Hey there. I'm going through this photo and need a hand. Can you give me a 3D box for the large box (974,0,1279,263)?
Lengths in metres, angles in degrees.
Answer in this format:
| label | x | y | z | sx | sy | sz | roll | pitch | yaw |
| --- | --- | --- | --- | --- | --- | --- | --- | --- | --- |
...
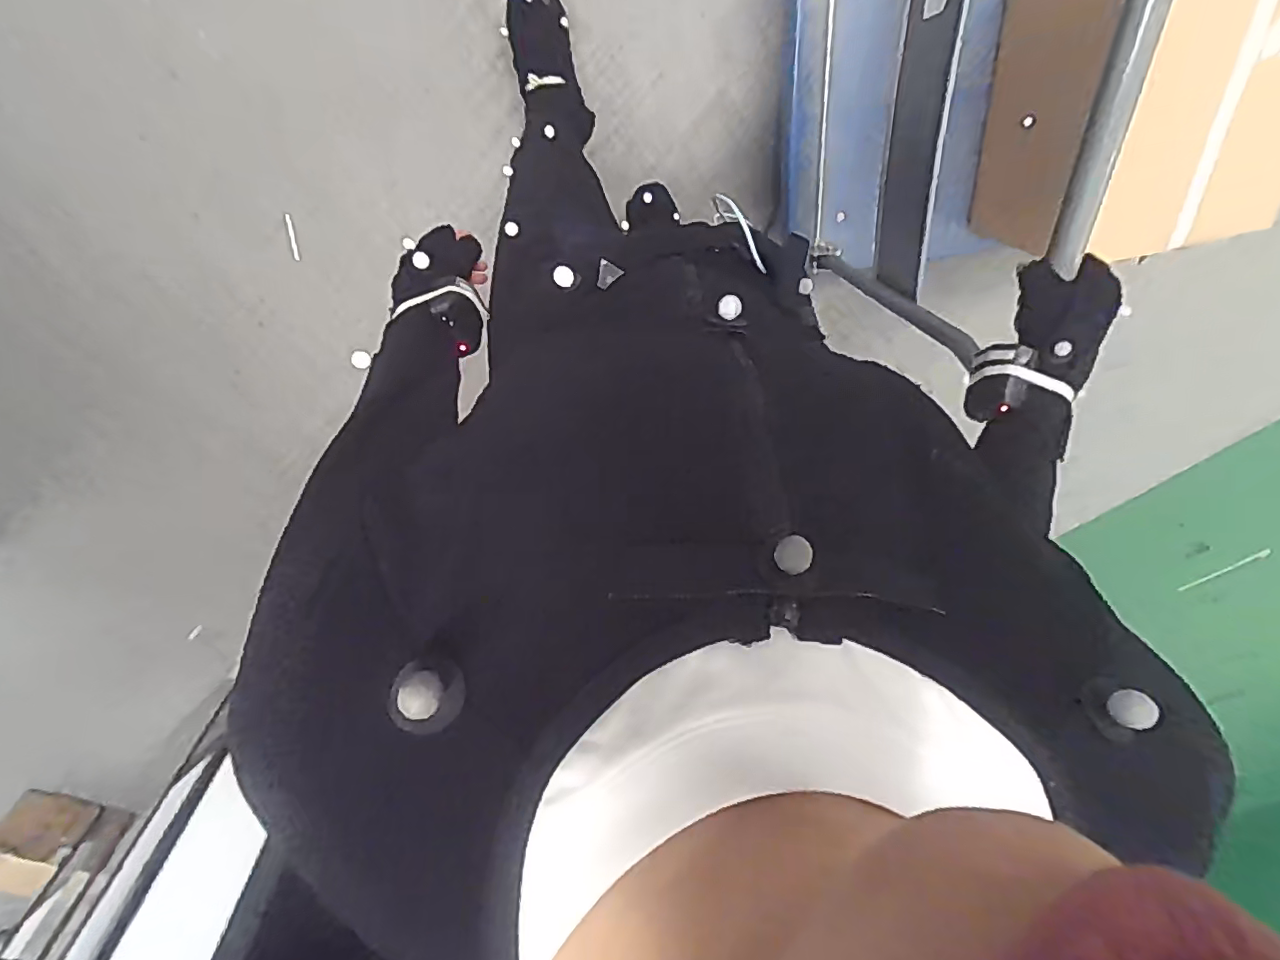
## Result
| label | x | y | z | sx | sy | sz | roll | pitch | yaw |
| --- | --- | --- | --- | --- | --- | --- | --- | --- | --- |
| large box | 0.799 | -0.619 | 0.871 | 0.320 | 0.320 | 0.408 | -10 | 125 | 4 |
